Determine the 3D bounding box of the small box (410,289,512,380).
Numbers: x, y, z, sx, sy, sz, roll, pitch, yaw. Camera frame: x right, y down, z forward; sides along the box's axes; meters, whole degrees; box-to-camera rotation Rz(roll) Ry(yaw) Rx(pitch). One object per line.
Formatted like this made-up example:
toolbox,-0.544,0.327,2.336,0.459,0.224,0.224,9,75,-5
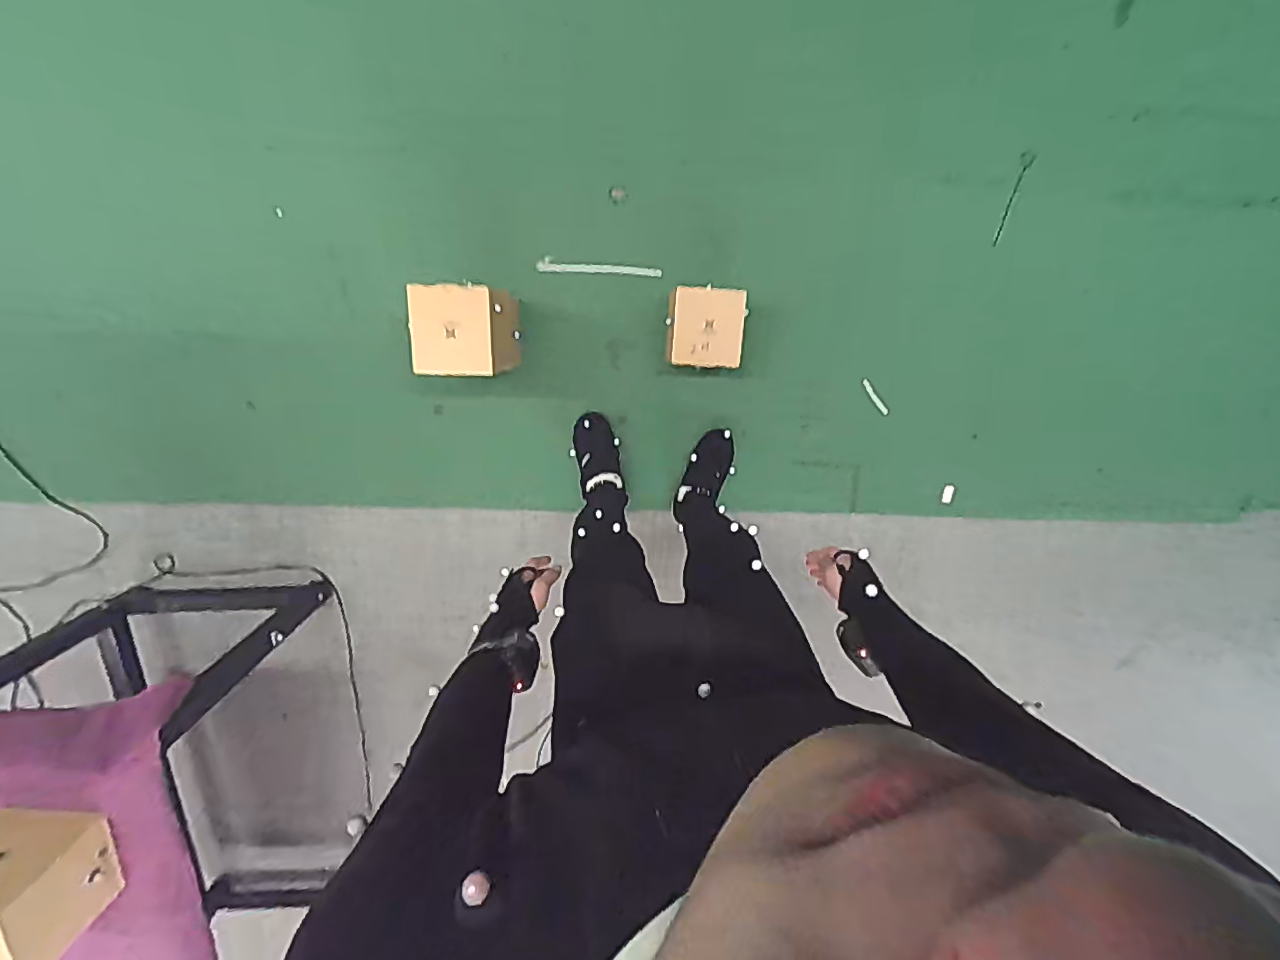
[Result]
small box,-0.380,-0.314,1.176,0.168,0.176,0.179,1,104,-1

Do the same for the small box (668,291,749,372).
small box,0.163,-0.366,1.343,0.168,0.176,0.179,3,105,-2

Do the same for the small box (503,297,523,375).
small box,-0.386,-0.355,1.332,0.168,0.176,0.179,1,105,-1
